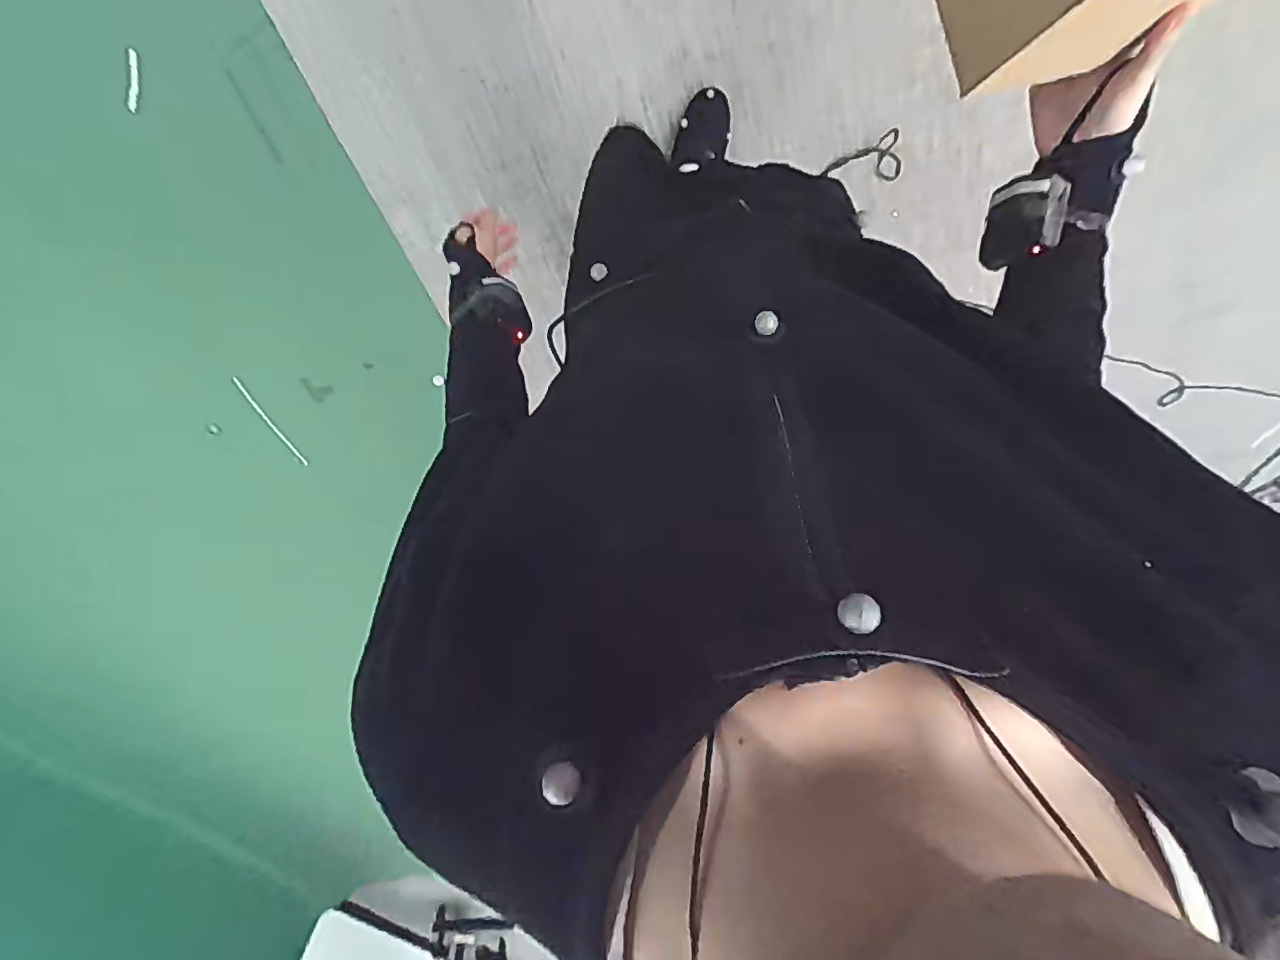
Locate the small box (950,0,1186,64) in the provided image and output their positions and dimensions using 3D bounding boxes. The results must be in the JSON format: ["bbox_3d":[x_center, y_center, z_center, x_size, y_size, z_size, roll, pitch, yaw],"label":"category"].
[{"bbox_3d":[0.285,-0.379,0.290,0.168,0.179,0.176,-20,95,-15],"label":"small box"}]
